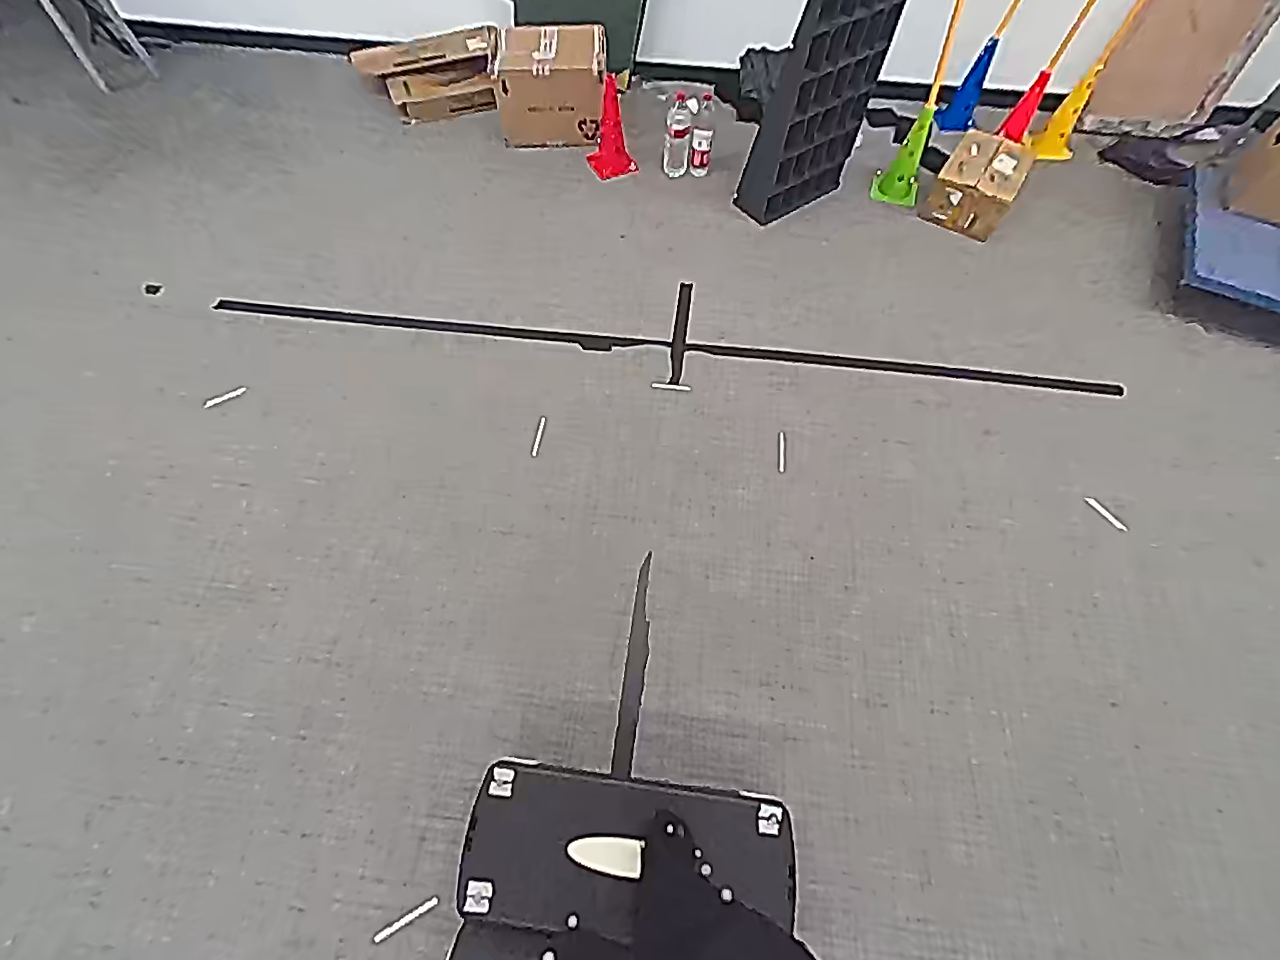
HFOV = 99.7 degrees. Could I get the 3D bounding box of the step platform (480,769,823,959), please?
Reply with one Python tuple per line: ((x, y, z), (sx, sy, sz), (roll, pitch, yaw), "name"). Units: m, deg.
((0.025, 0.832, 1.133), (0.684, 0.204, 0.286), (11, 59, 4), "step platform")
